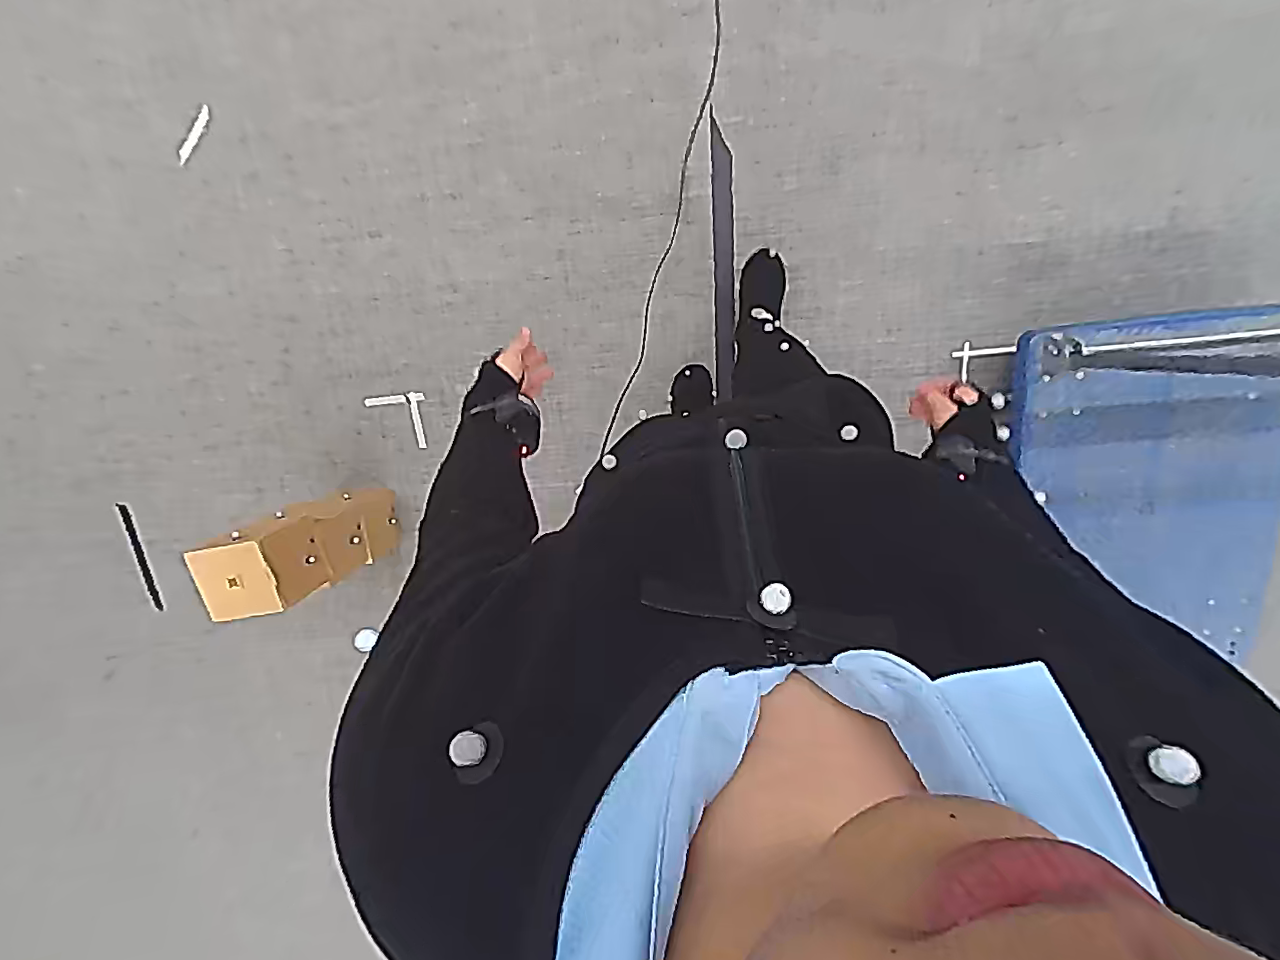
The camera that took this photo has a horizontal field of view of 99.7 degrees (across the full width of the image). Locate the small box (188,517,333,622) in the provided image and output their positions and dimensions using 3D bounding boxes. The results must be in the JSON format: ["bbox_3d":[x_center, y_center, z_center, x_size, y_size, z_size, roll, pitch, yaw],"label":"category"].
[{"bbox_3d":[-0.837,0.196,1.211,0.179,0.176,0.168,-10,104,7],"label":"small box"}]

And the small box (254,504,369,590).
[{"bbox_3d":[-0.823,0.165,1.371,0.179,0.176,0.168,1,106,4],"label":"small box"}]
